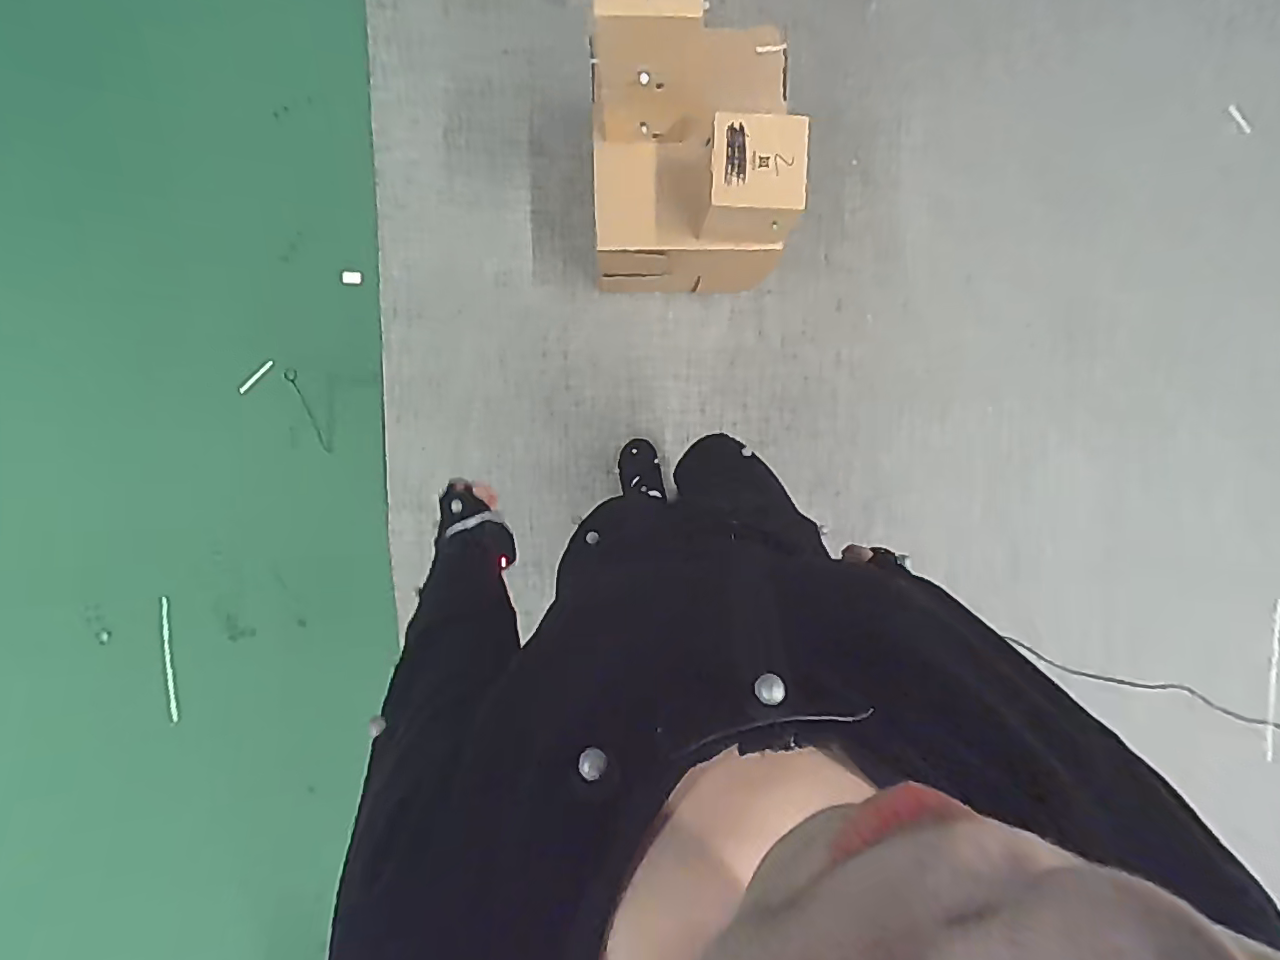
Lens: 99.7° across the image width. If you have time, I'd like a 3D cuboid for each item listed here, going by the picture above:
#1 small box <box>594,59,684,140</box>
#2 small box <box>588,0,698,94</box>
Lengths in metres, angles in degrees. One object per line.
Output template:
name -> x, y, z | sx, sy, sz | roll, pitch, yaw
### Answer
small box -> -0.002, -0.797, 1.047 | 0.168, 0.176, 0.179 | -1, 91, 0
small box -> 0.006, -0.778, 0.882 | 0.168, 0.176, 0.179 | 1, 92, 0
